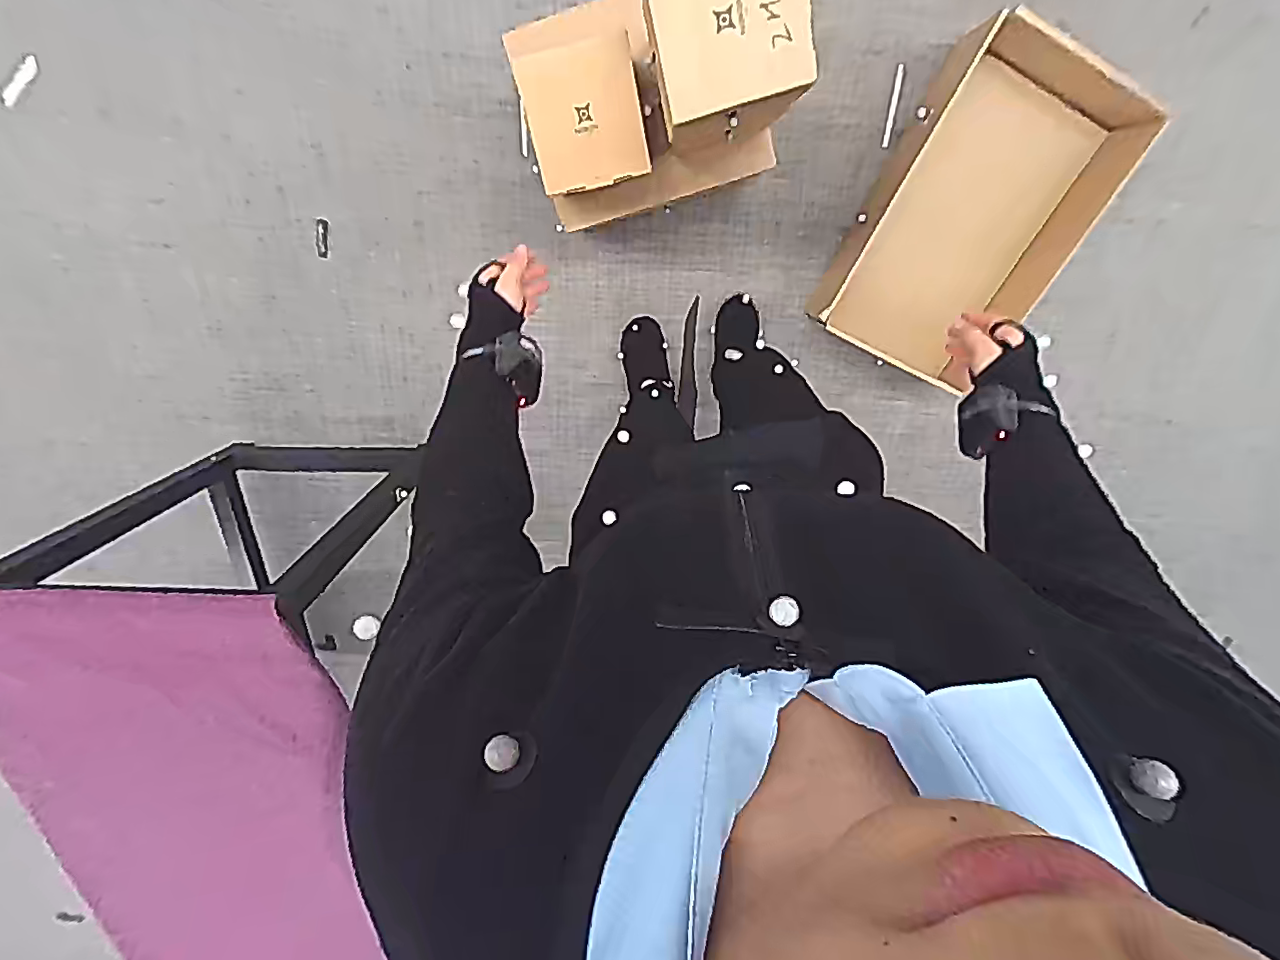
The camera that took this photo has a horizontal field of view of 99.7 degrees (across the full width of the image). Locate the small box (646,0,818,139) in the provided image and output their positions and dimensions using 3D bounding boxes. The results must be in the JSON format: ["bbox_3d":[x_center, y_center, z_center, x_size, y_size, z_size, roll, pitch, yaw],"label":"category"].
[{"bbox_3d":[0.105,-0.547,0.671,0.179,0.176,0.168,-12,115,7],"label":"small box"}]
